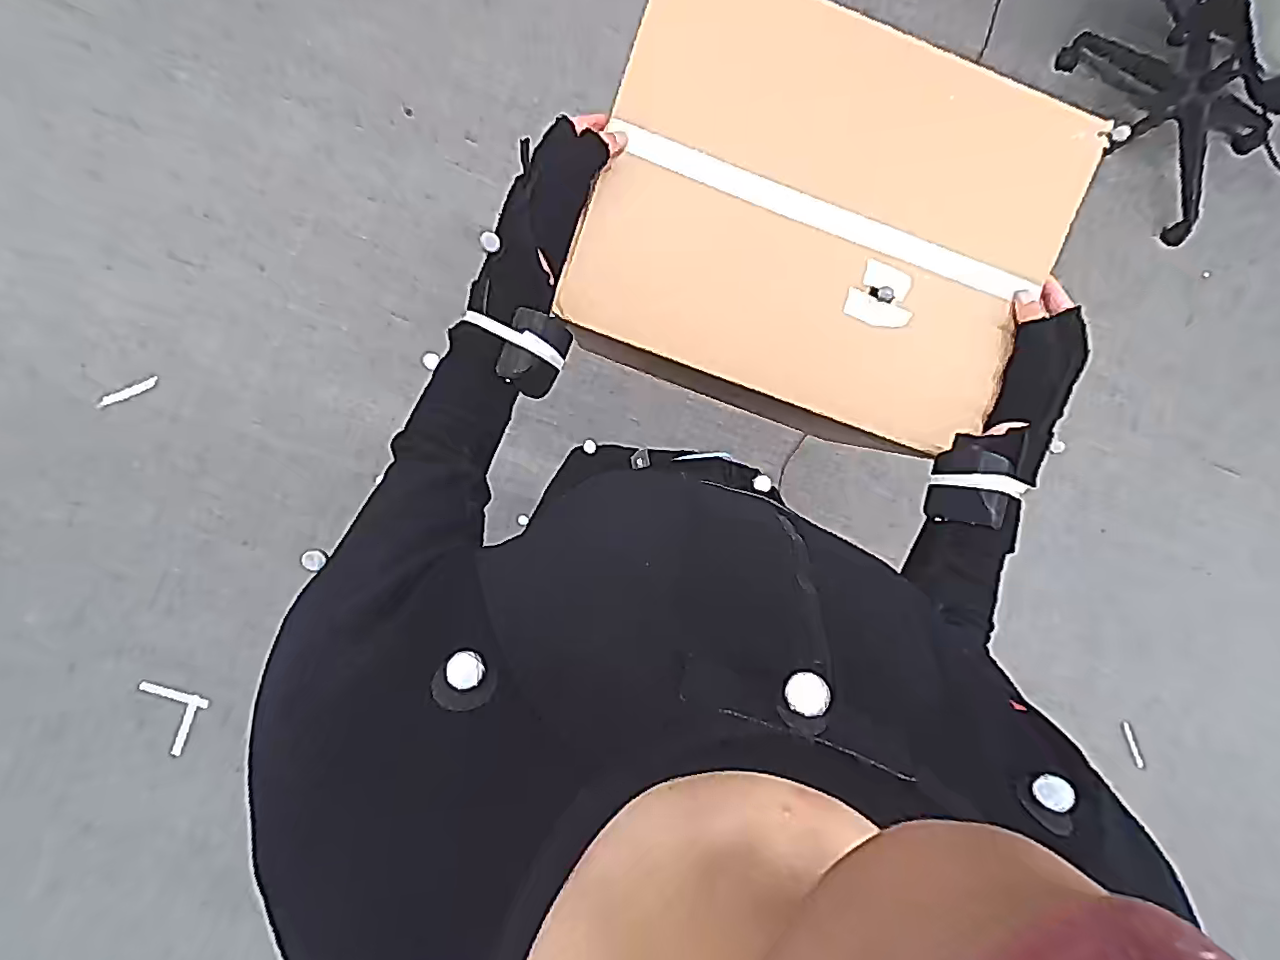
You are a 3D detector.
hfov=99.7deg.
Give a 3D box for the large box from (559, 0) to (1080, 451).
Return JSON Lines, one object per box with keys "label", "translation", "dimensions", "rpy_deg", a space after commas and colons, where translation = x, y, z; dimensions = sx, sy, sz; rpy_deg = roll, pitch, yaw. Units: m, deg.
{"label": "large box", "translation": [0.150, -0.251, 0.628], "dimensions": [0.408, 0.320, 0.320], "rpy_deg": [19, 98, -6]}
